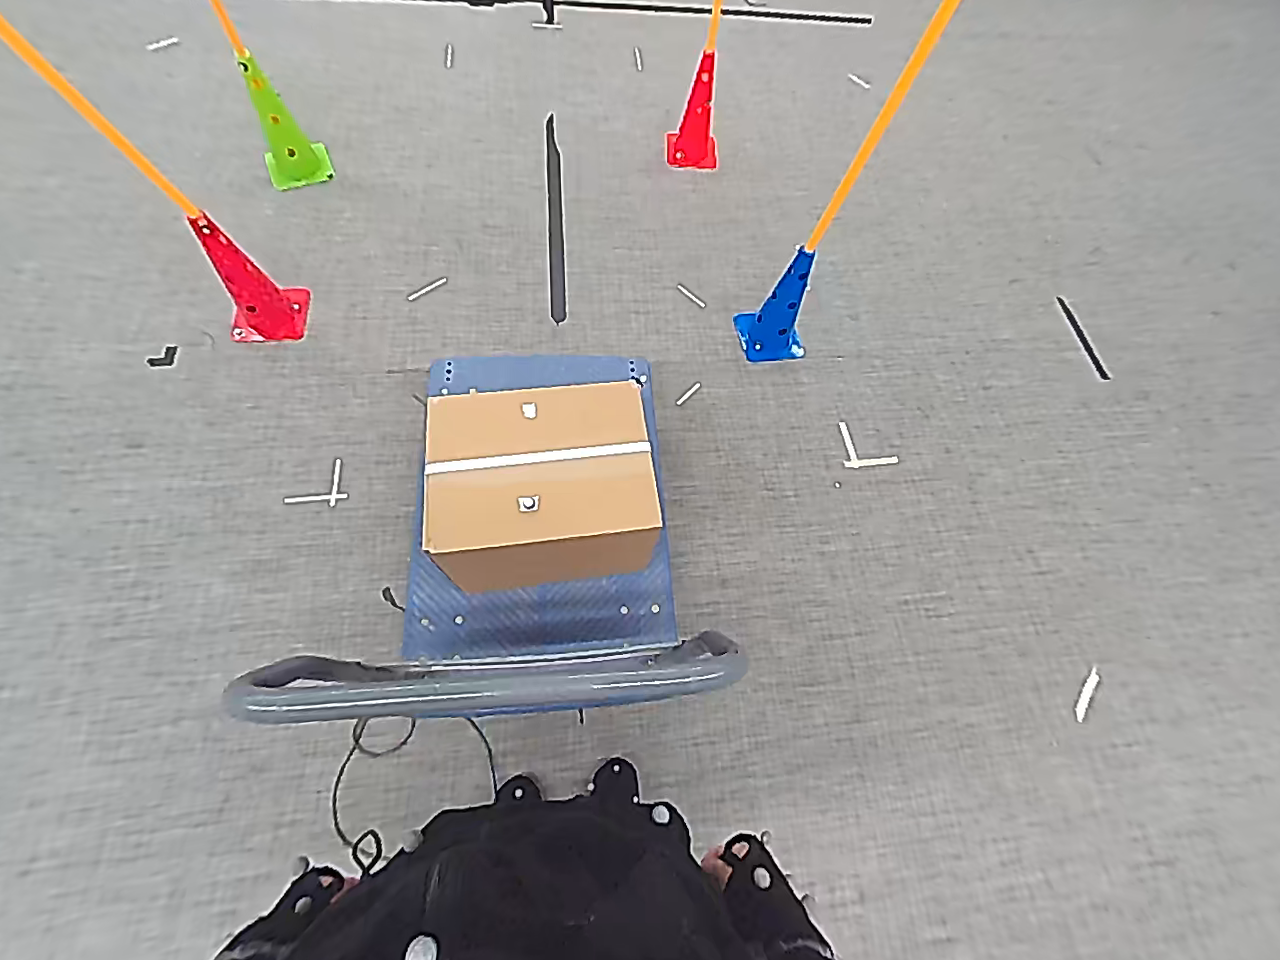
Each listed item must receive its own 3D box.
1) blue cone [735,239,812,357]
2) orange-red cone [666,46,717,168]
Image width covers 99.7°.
[{"bbox_3d":[0.437,-0.555,1.634,0.193,0.380,0.192,-7,65,-9],"label":"blue cone"},{"bbox_3d":[0.221,-1.373,1.973,0.199,0.360,0.198,3,66,-5],"label":"orange-red cone"}]
